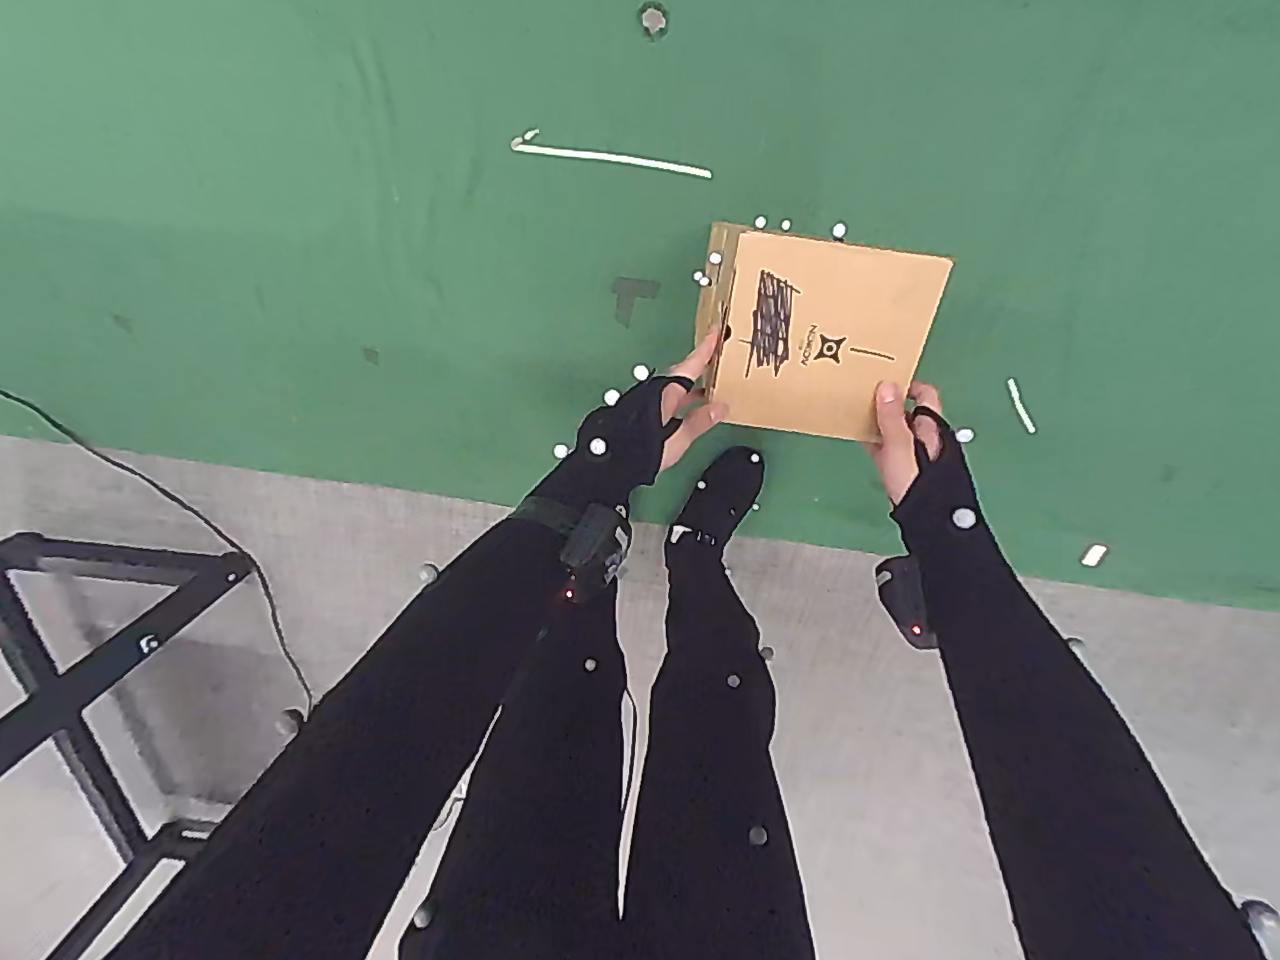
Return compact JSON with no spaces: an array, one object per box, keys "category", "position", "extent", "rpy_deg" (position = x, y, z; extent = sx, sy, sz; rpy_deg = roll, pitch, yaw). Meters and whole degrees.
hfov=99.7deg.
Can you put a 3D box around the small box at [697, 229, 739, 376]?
[{"category":"small box","position":[0.174,-0.222,0.695],"extent":[0.179,0.176,0.168],"rpy_deg":[9,116,1]}]

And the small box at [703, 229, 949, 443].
[{"category":"small box","position":[0.163,-0.154,0.547],"extent":[0.179,0.176,0.168],"rpy_deg":[8,117,0]}]
